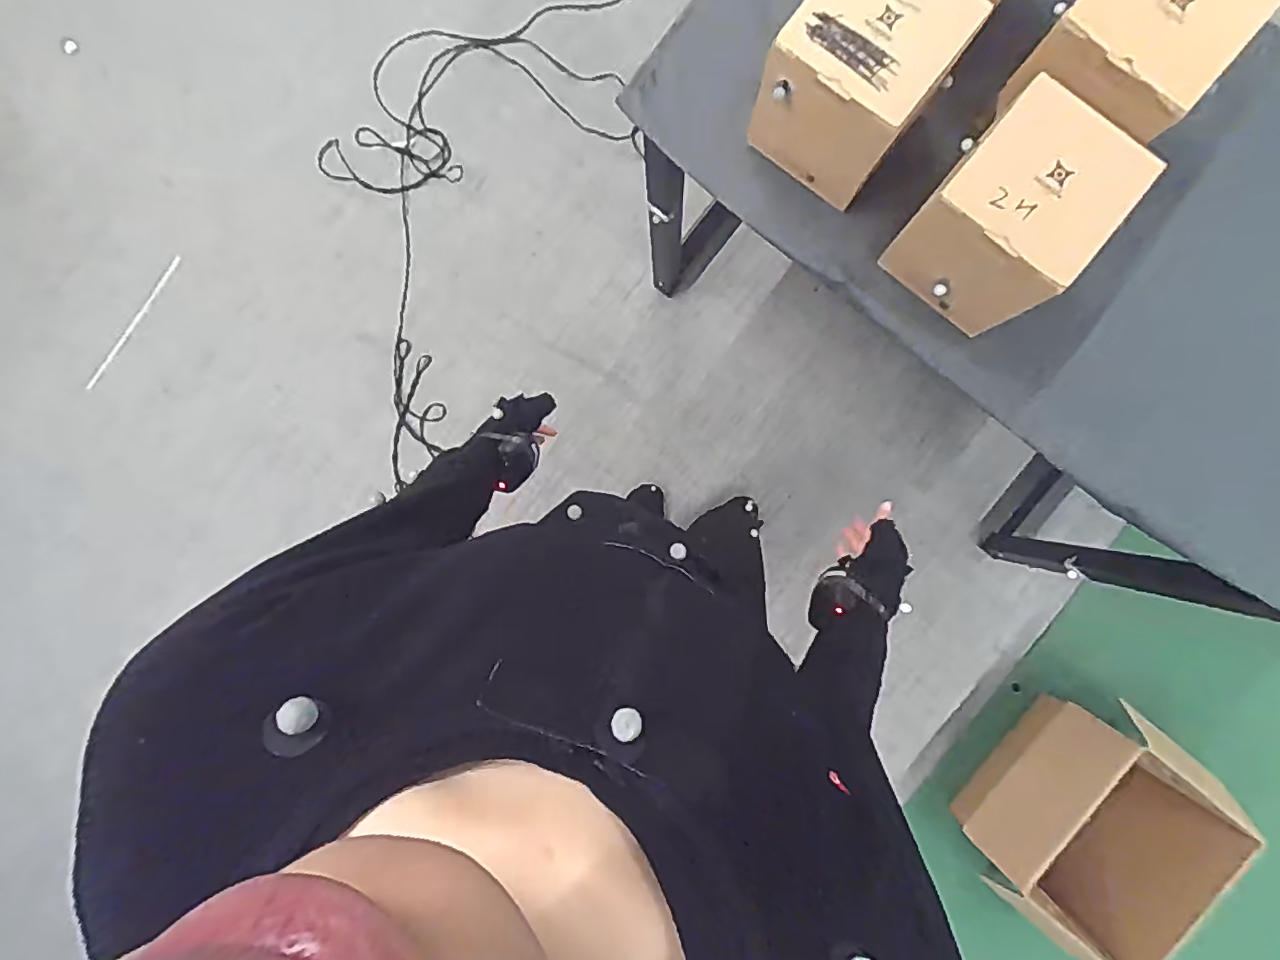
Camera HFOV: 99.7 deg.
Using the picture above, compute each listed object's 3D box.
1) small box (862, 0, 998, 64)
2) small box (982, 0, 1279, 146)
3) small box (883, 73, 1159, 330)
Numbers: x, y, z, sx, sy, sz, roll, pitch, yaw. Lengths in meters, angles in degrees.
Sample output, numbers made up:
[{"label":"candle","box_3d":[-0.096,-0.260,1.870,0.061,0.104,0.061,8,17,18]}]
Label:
[{"label":"small box","box_3d":[0.394,-0.670,0.654,0.168,0.176,0.179,37,91,2]},{"label":"small box","box_3d":[0.565,-0.501,0.649,0.168,0.176,0.179,40,92,2]},{"label":"small box","box_3d":[0.432,-0.314,0.649,0.168,0.176,0.179,39,90,2]}]
